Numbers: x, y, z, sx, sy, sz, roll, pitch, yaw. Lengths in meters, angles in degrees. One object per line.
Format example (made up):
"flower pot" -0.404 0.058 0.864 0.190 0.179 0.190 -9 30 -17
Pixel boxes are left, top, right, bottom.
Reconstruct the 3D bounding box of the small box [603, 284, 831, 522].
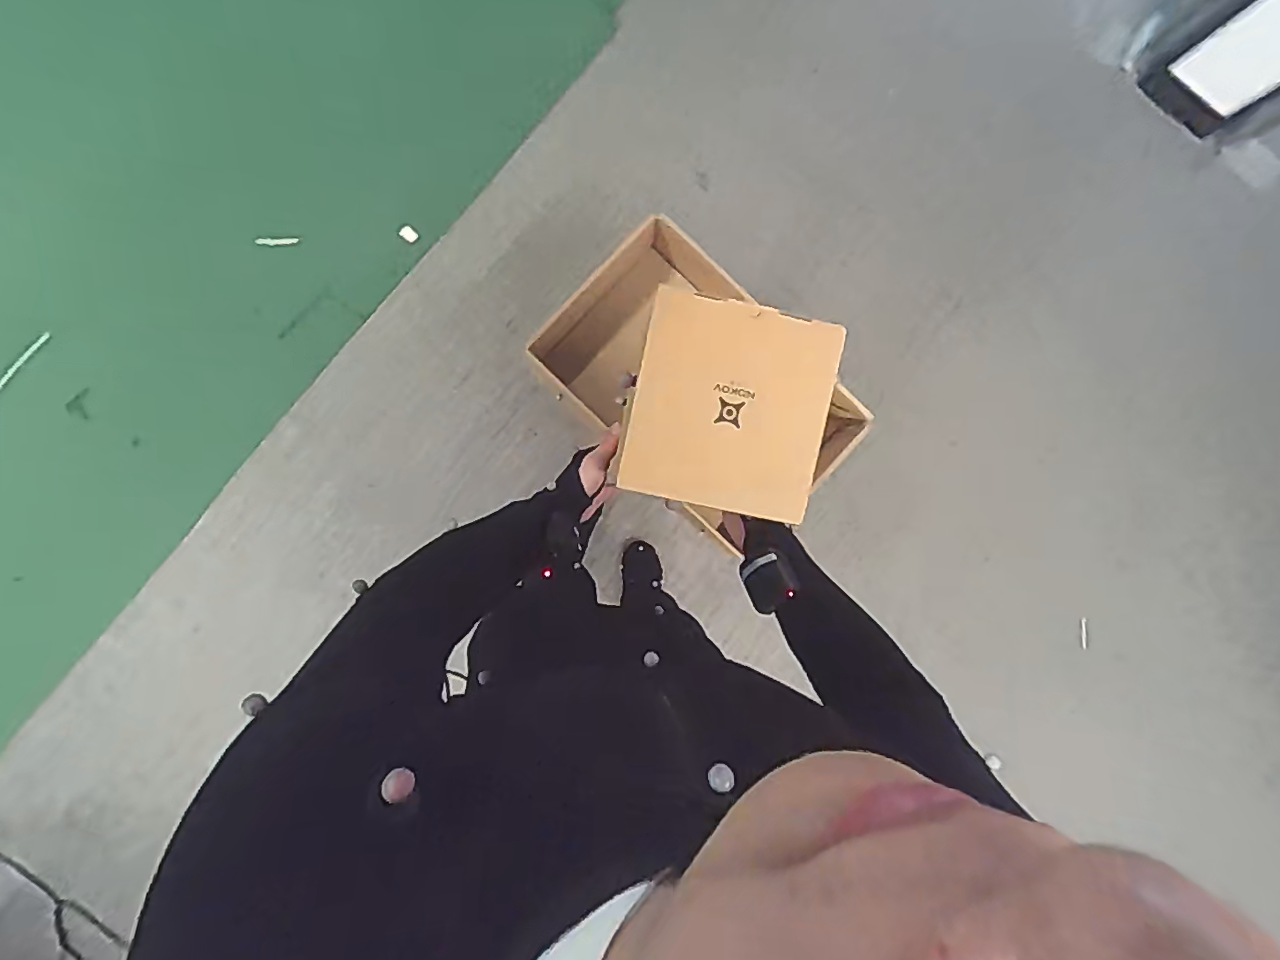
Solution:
"small box" 0.063 -0.068 0.534 0.168 0.176 0.179 11 92 -3
